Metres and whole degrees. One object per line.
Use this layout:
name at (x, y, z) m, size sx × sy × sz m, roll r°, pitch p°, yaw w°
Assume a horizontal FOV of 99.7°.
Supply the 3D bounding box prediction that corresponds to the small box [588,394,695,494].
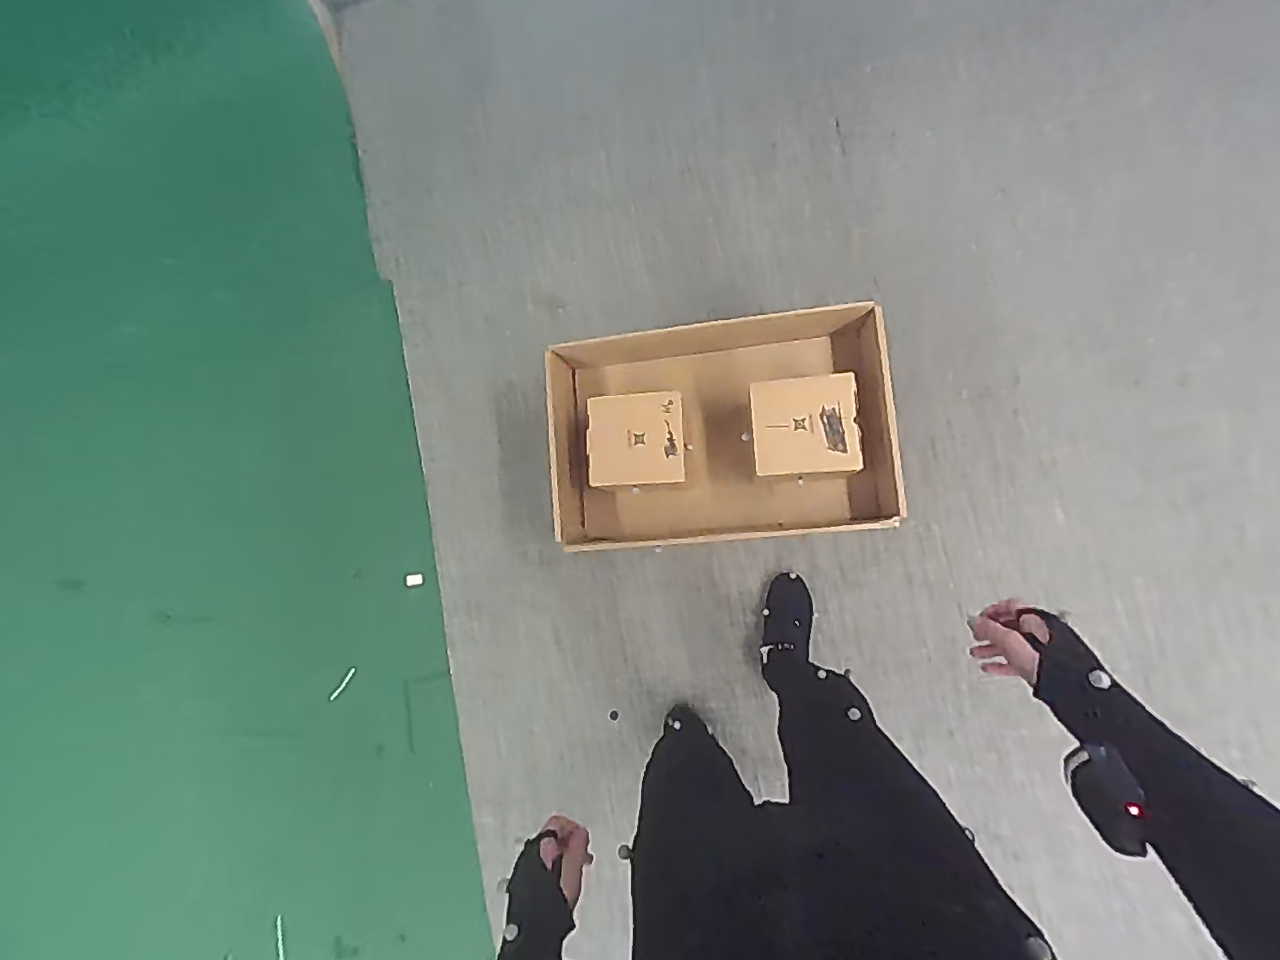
small box at (0.008, -0.062, 1.046) m, size 0.179 × 0.176 × 0.168 m, roll -3°, pitch 84°, yaw 12°
